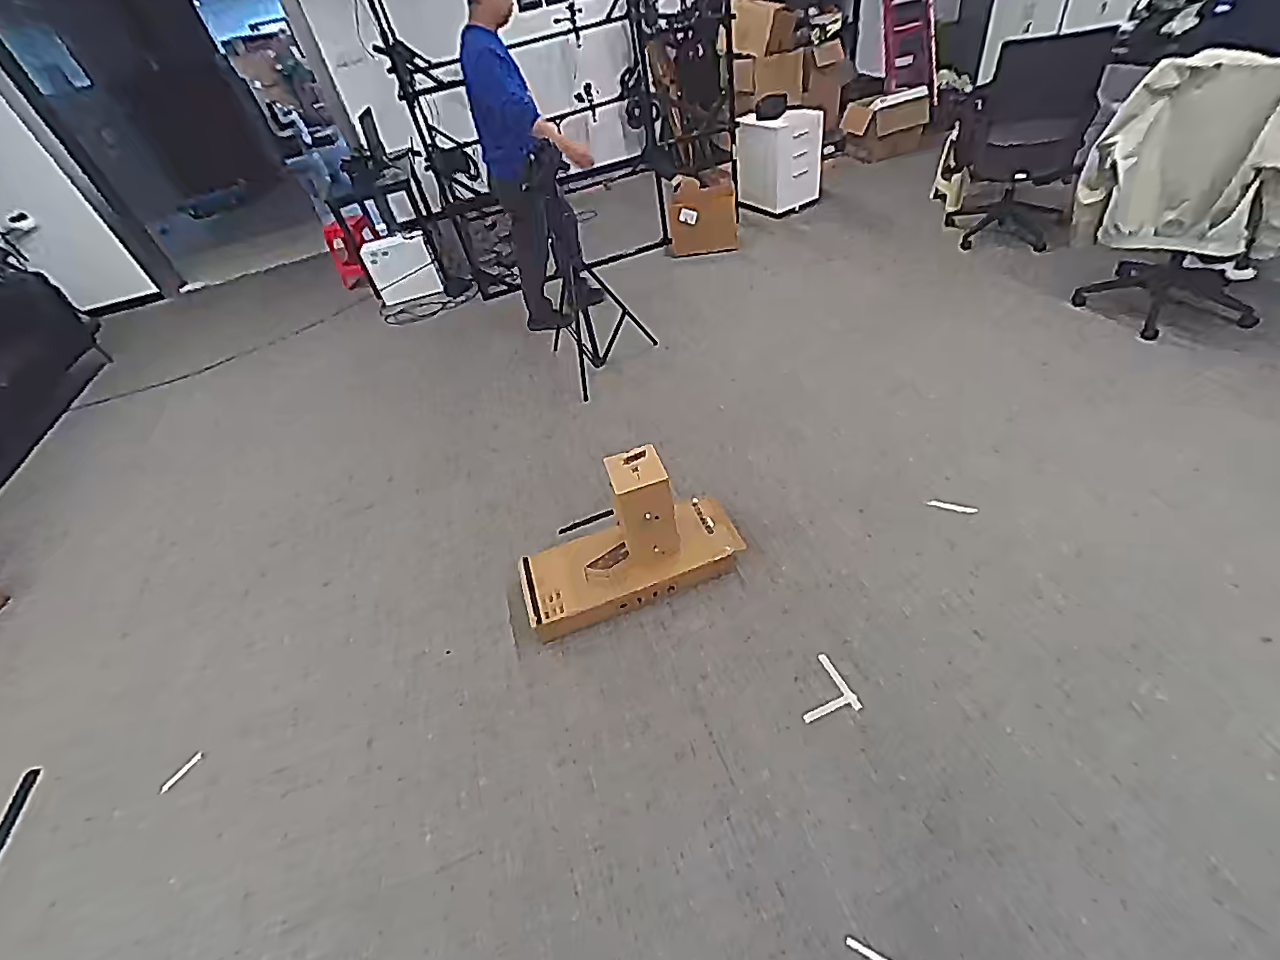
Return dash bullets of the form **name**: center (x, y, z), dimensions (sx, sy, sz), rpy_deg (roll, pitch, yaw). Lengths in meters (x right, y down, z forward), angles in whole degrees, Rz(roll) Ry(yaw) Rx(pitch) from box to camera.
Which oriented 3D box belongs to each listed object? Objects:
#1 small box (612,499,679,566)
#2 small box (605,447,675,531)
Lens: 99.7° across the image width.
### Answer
- **small box**: center (0.020, 0.153, 1.805), dimensions (0.168, 0.176, 0.179), rpy_deg (-20, 42, -8)
- **small box**: center (0.000, 0.030, 1.698), dimensions (0.168, 0.176, 0.179), rpy_deg (-18, 42, -5)
